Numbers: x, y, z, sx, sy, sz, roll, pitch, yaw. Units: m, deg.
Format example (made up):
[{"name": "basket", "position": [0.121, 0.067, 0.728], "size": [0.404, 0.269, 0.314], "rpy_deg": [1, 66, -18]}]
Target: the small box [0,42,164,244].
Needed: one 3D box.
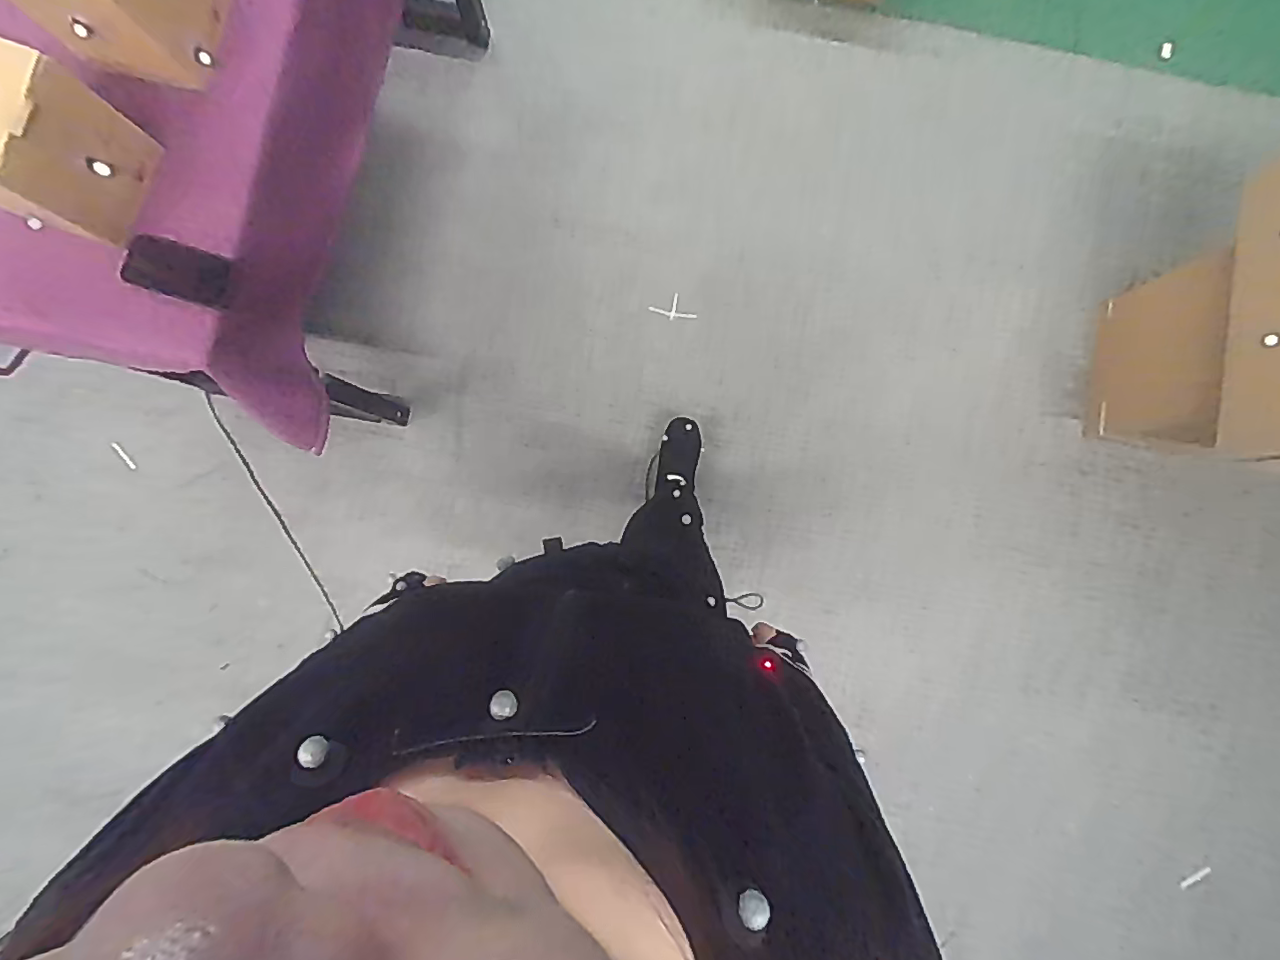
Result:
[{"name": "small box", "position": [-0.796, -0.440, 0.710], "size": [0.179, 0.176, 0.168], "rpy_deg": [19, 86, 0]}]

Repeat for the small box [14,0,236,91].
[{"name": "small box", "position": [-0.697, -0.669, 0.725], "size": [0.179, 0.176, 0.168], "rpy_deg": [12, 86, 1]}]
